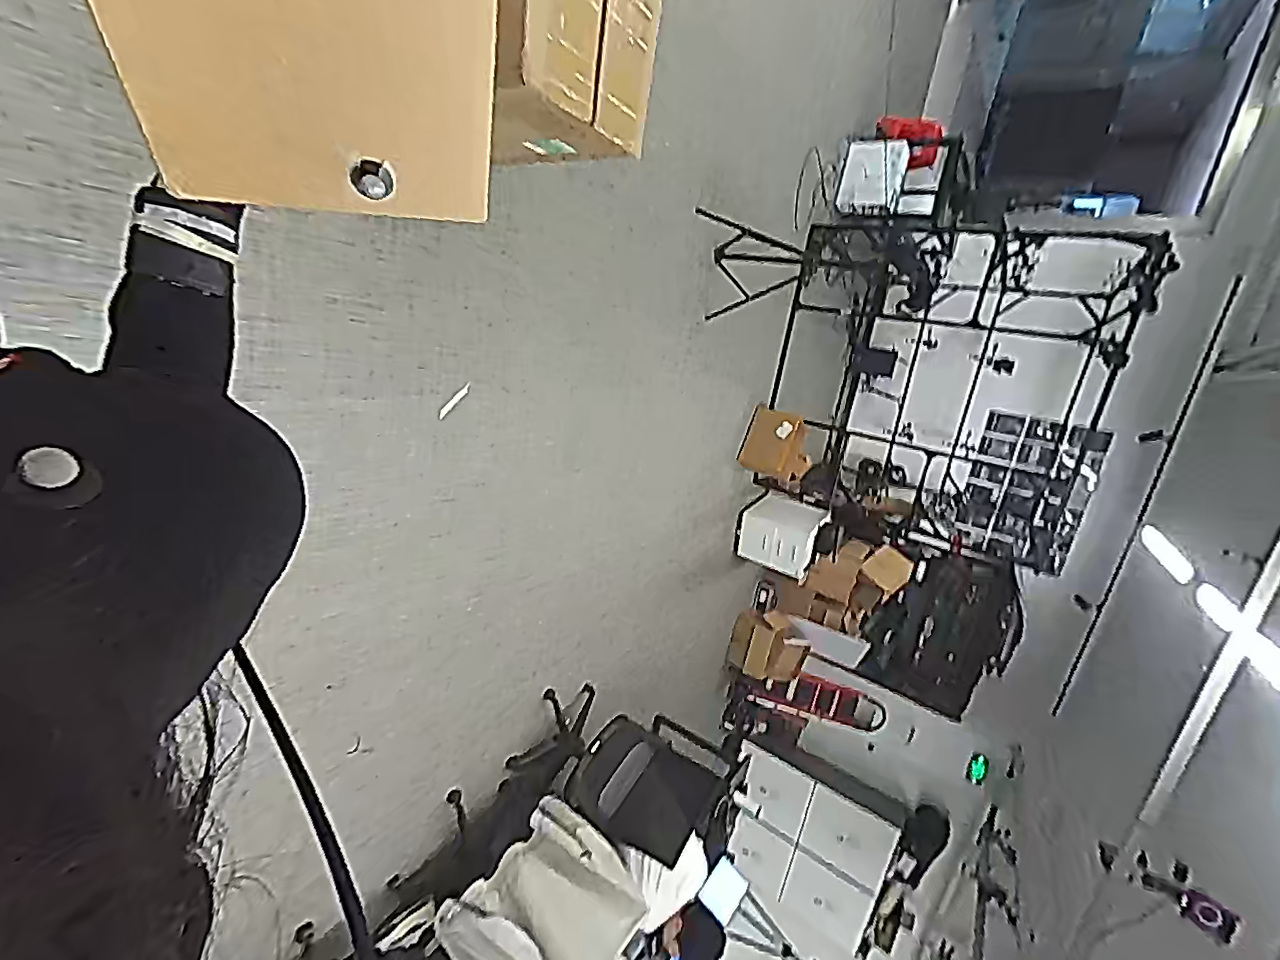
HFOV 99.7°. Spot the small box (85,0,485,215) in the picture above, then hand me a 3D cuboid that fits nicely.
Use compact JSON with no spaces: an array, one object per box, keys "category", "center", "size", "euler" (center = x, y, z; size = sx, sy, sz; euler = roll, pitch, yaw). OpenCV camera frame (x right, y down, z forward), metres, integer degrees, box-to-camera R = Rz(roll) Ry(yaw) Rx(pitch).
[{"category":"small box","center":[-0.179,-0.277,0.290],"size":[0.168,0.179,0.176],"euler":[-7,148,-23]}]
